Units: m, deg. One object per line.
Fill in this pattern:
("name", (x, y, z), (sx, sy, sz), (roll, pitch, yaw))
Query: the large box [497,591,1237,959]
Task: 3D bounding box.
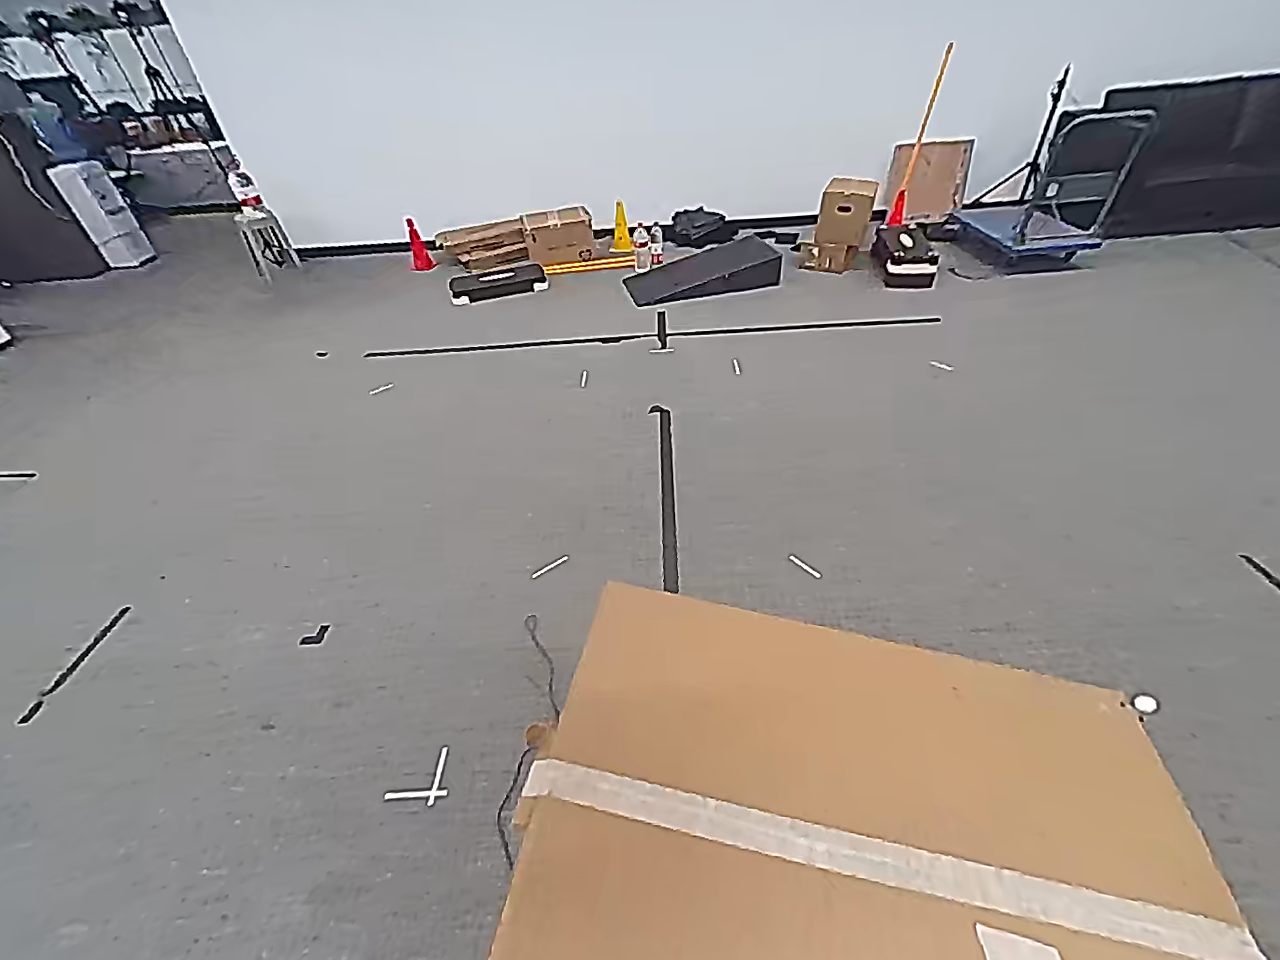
("large box", (0.119, 0.335, 0.417), (0.408, 0.320, 0.320), (12, 42, 4))
